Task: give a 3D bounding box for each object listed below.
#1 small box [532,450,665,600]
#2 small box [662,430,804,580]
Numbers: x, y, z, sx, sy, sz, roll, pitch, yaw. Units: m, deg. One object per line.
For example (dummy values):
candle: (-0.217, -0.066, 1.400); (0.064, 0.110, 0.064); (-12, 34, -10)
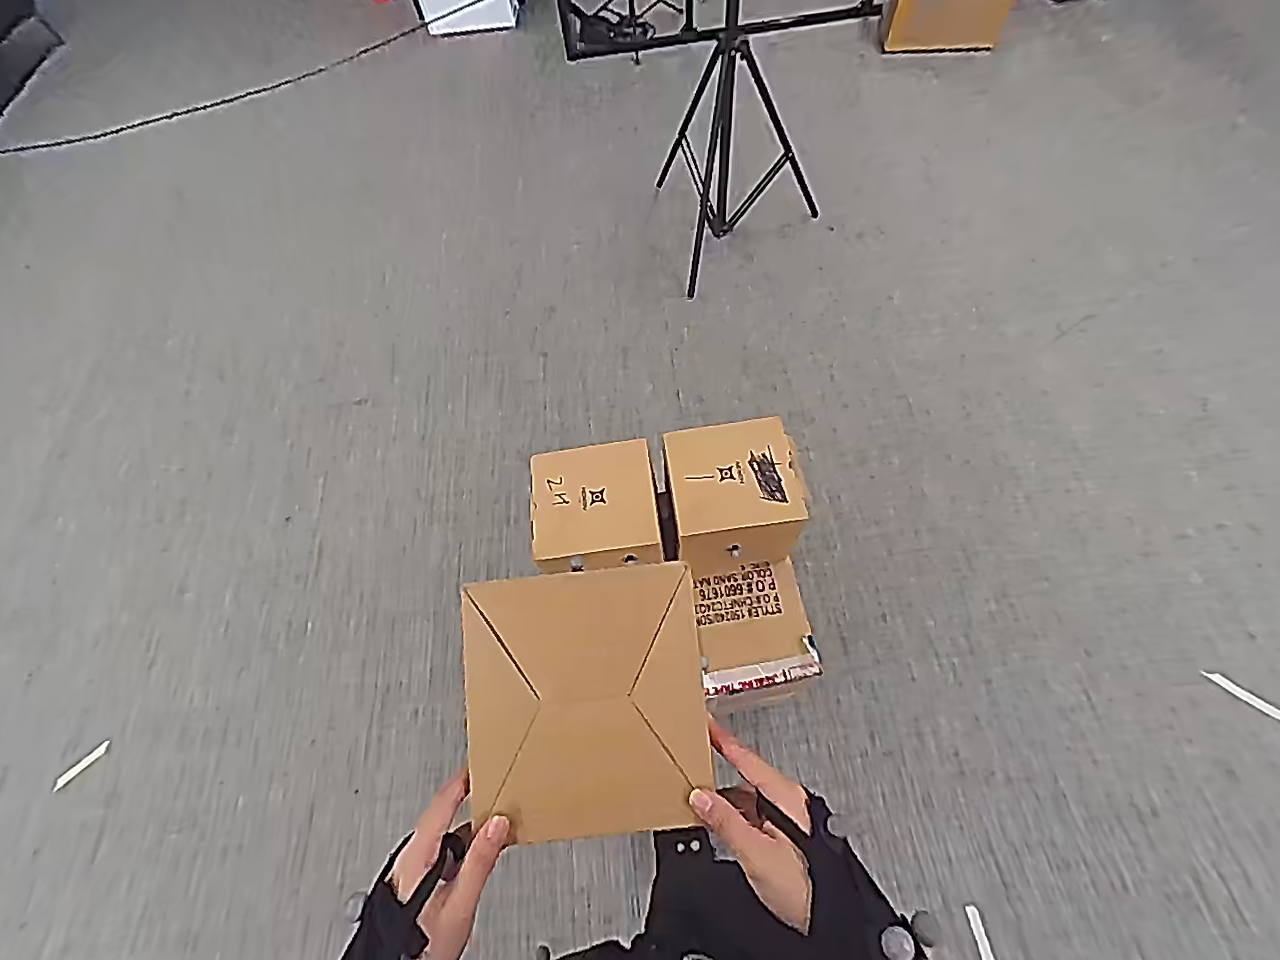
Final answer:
small box: (-0.058, 0.075, 0.829); (0.179, 0.176, 0.168); (-9, 62, 3)
small box: (0.130, 0.044, 0.829); (0.179, 0.176, 0.168); (-8, 63, 0)
